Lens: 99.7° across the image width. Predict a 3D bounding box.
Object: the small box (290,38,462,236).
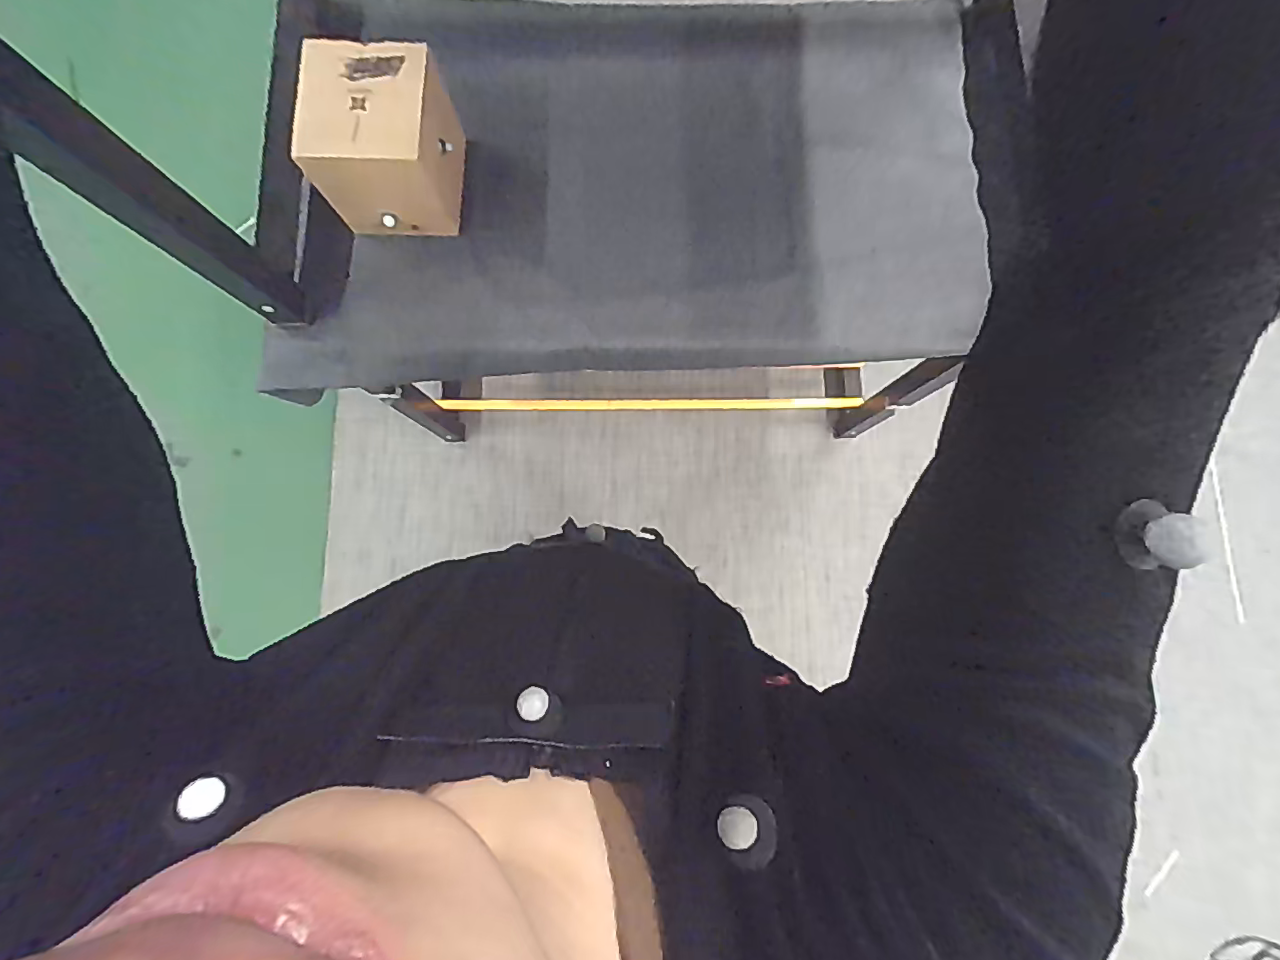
[{"bbox_3d":[-0.366,-0.485,0.783,0.168,0.176,0.179,1,82,-1],"label":"small box"}]
